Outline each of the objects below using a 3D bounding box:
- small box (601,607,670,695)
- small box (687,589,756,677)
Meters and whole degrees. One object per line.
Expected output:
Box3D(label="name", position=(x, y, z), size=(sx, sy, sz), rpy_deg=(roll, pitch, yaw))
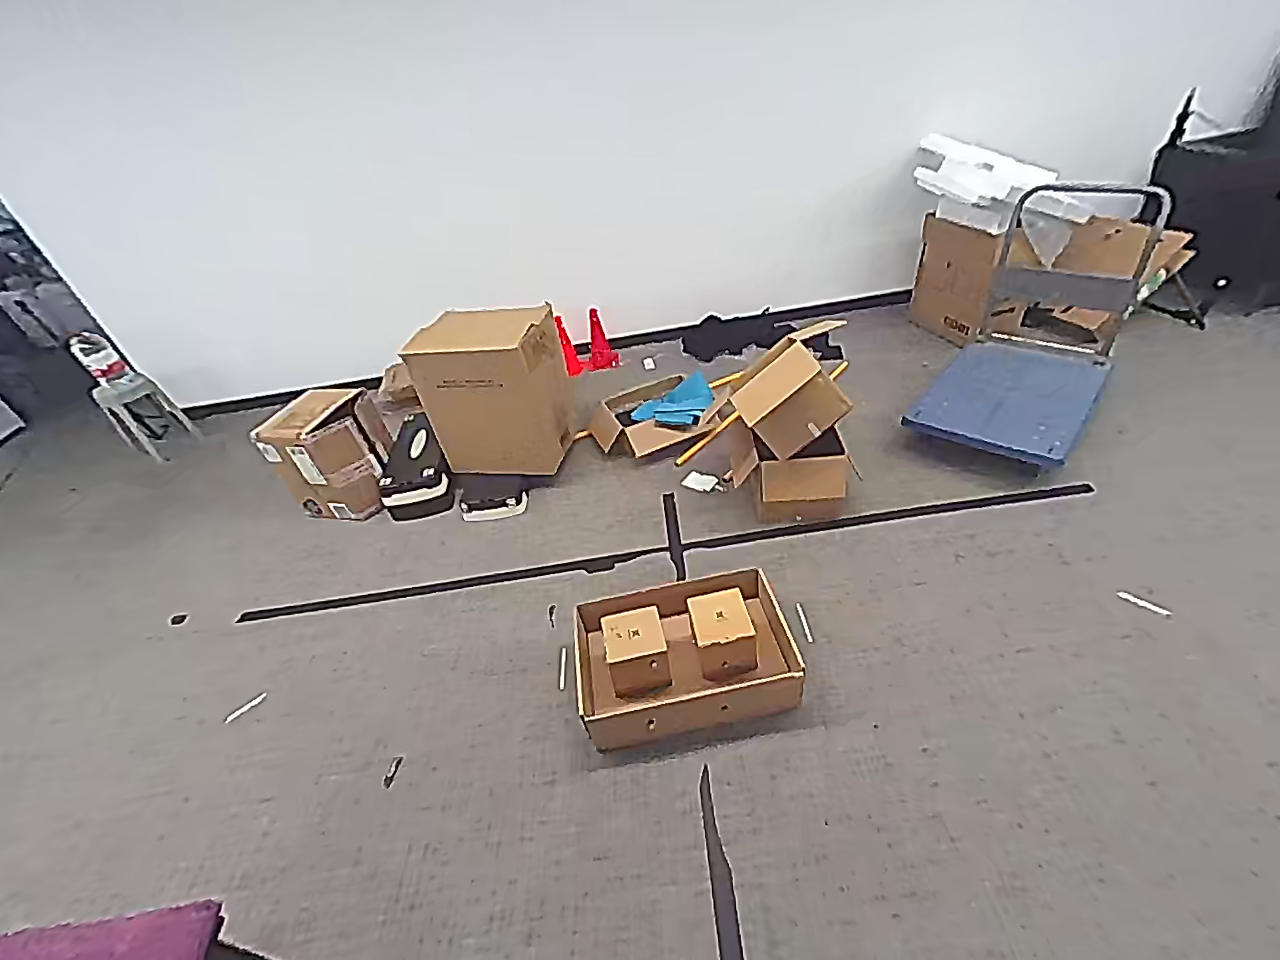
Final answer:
Box3D(label="small box", position=(-0.010, 0.512, 1.617), size=(0.179, 0.176, 0.168), rpy_deg=(-12, 37, -4))
Box3D(label="small box", position=(0.245, 0.461, 1.626), size=(0.168, 0.176, 0.179), rpy_deg=(-12, 38, -1))
